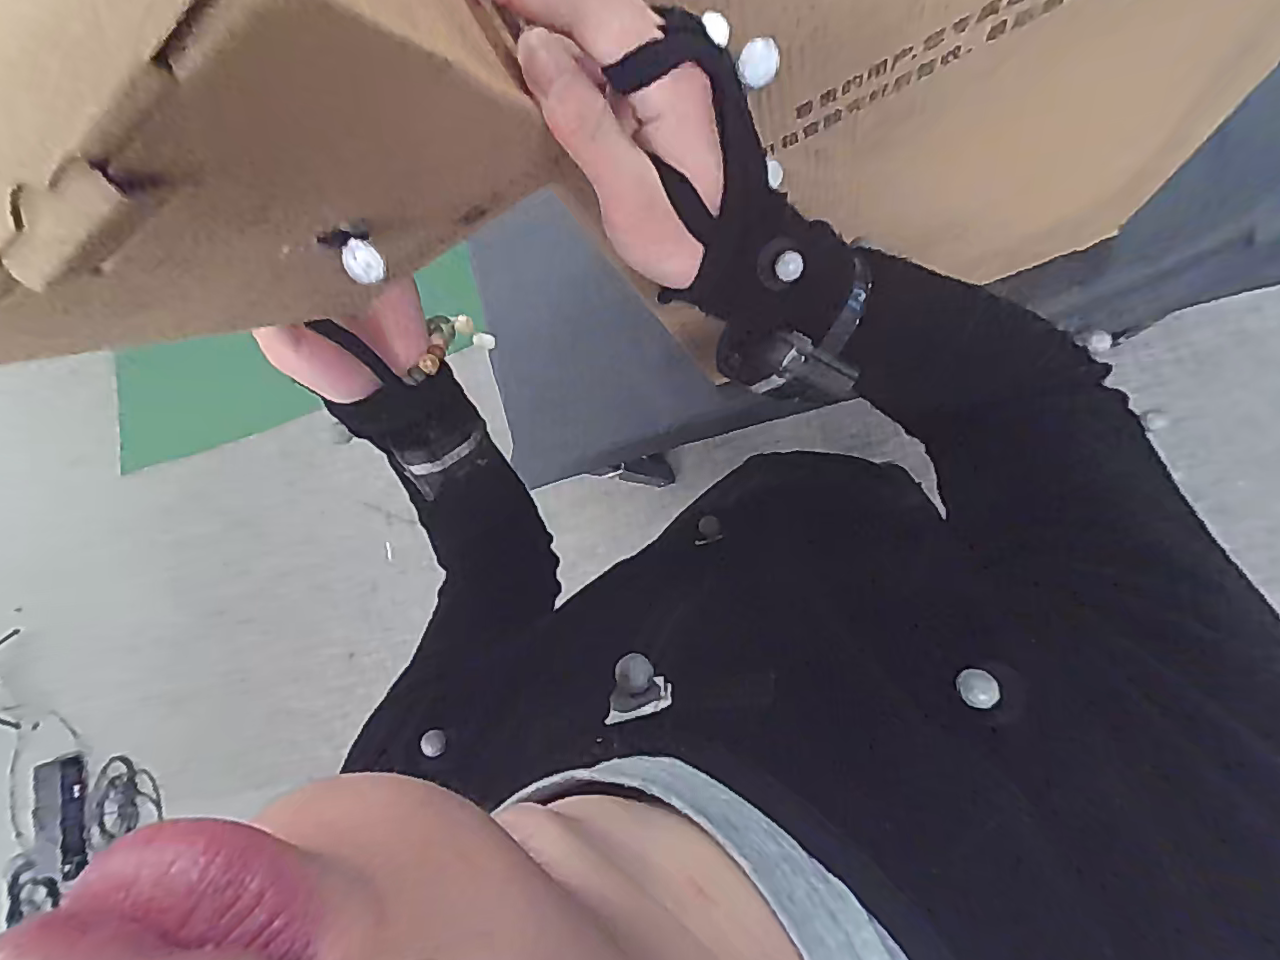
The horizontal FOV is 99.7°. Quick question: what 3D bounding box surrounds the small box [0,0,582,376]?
[{"bbox_3d":[-0.144,-0.160,0.175,0.168,0.176,0.179,-21,106,23],"label":"small box"}]
